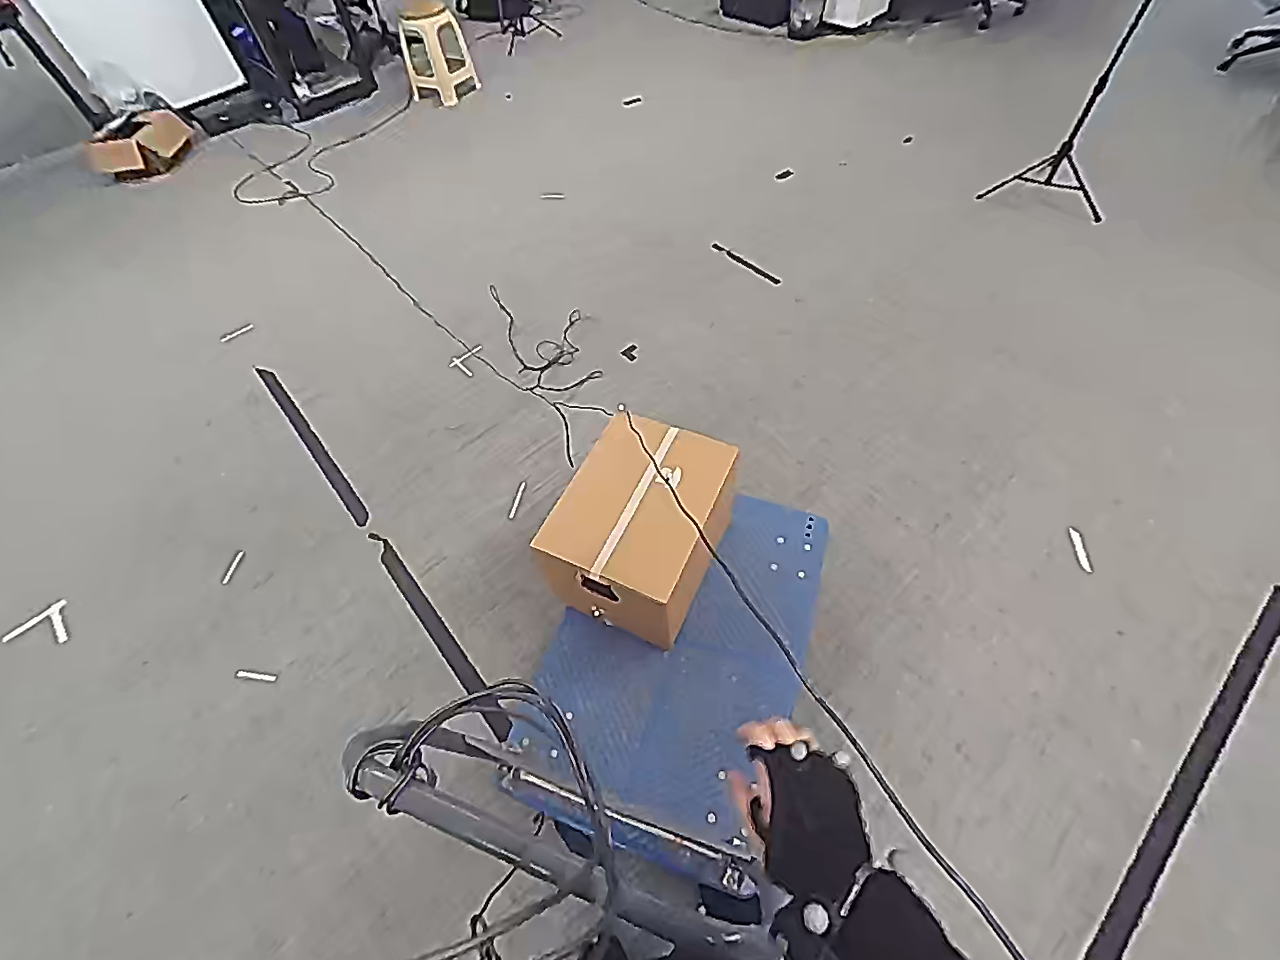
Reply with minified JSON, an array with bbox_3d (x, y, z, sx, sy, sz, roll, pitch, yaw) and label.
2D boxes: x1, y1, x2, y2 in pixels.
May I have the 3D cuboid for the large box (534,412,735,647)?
[{"bbox_3d":[0.006,0.117,1.285,0.320,0.320,0.408,20,60,16],"label":"large box"}]
